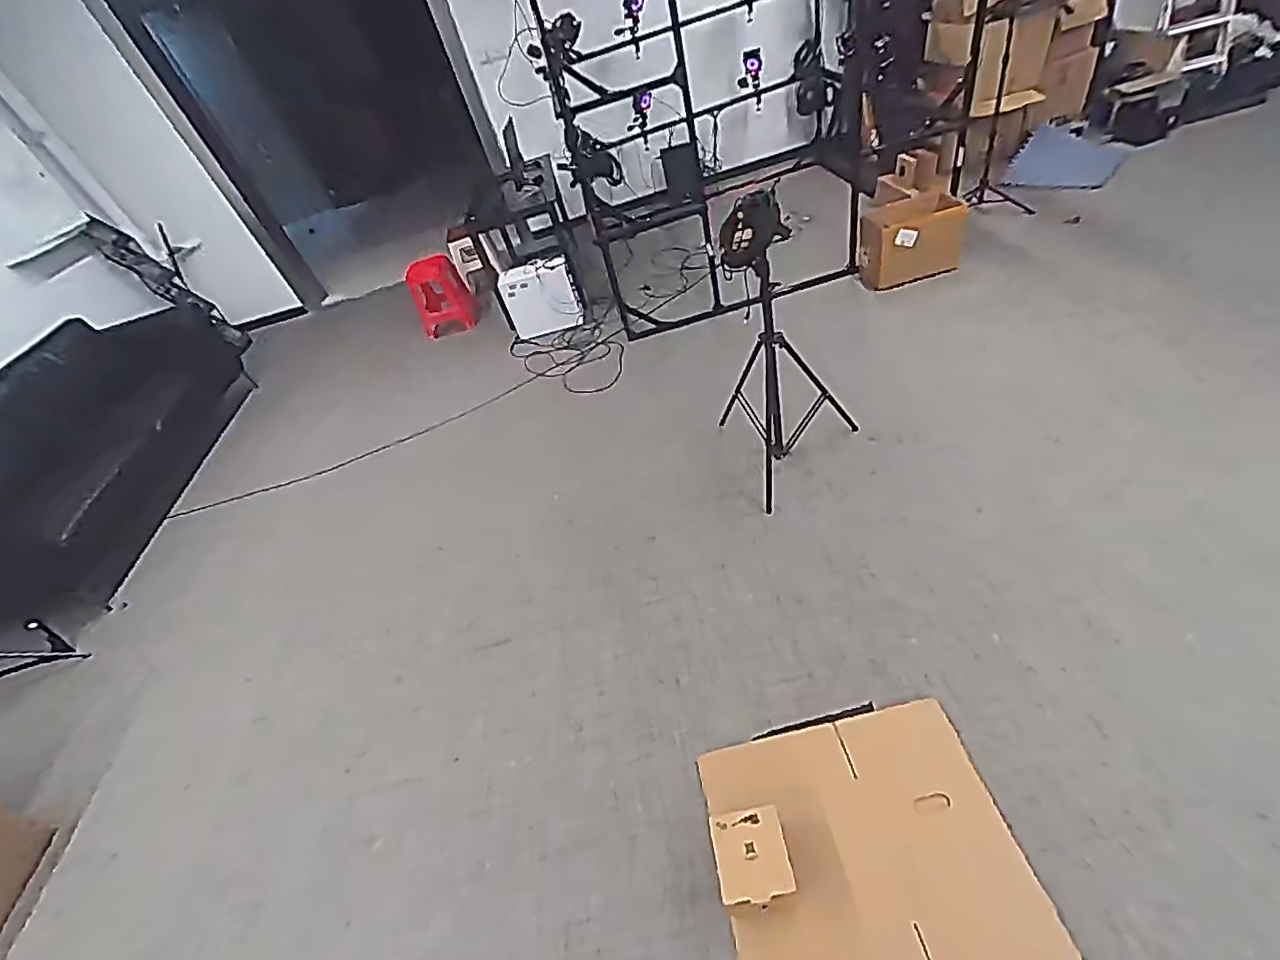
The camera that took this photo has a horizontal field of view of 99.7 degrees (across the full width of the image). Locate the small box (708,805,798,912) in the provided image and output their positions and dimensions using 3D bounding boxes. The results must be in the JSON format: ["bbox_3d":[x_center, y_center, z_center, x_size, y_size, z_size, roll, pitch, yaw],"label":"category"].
[{"bbox_3d":[0.268,0.899,1.277,0.168,0.176,0.179,-14,44,5],"label":"small box"}]
